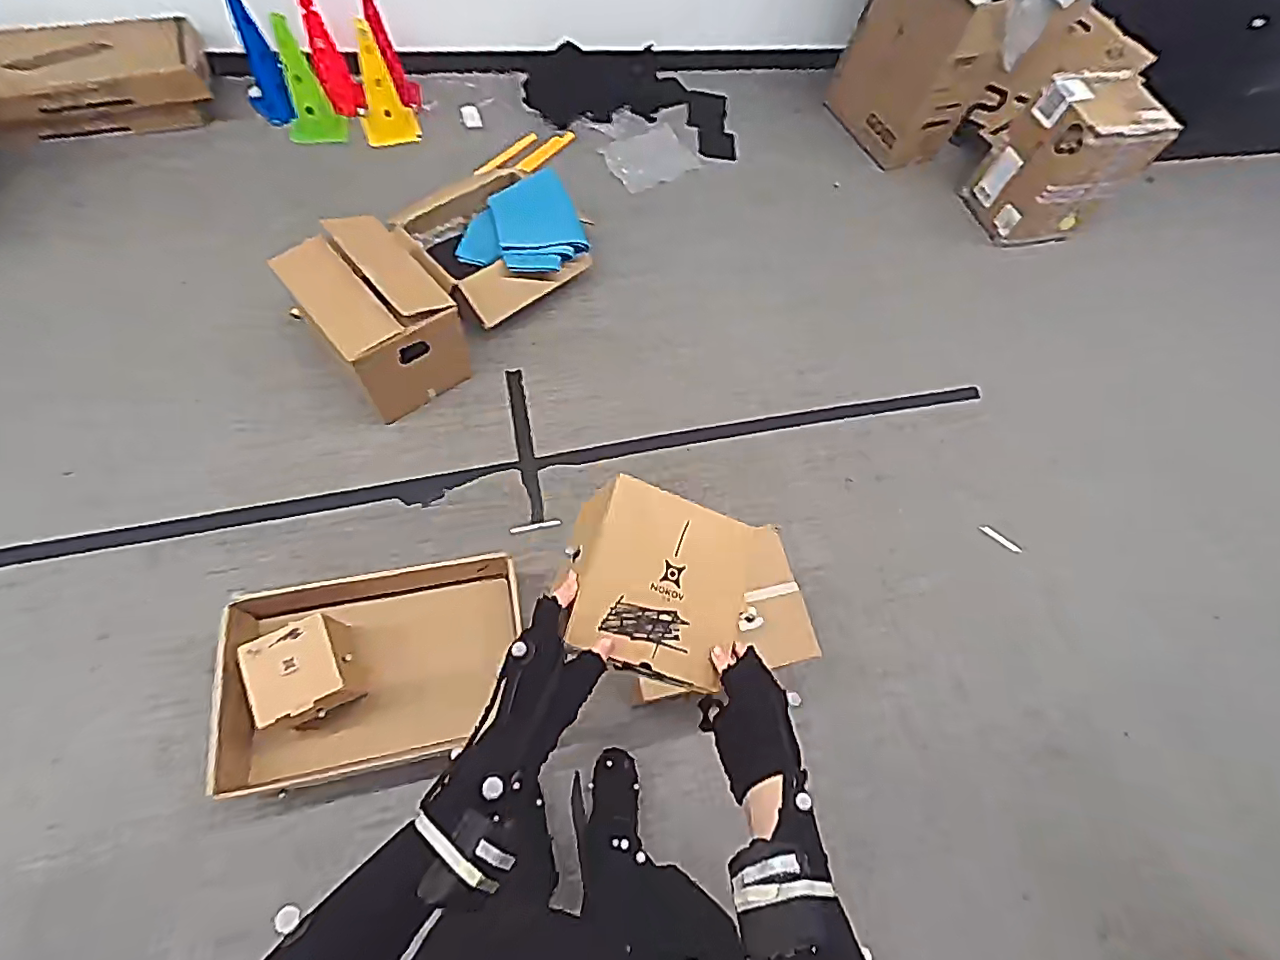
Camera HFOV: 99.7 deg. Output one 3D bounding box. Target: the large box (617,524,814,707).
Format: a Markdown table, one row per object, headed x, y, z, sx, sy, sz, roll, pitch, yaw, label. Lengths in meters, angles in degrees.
| x | y | z | sx | sy | sz | roll | pitch | yaw | label |
| --- | --- | --- | --- | --- | --- | --- | --- | --- | --- |
| 0.134 | 0.338 | 1.324 | 0.408 | 0.320 | 0.320 | -10 | 67 | -14 | large box |

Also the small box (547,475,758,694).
| x | y | z | sx | sy | sz | roll | pitch | yaw | label |
| --- | --- | --- | --- | --- | --- | --- | --- | --- | --- |
| 0.005 | 0.123 | 0.610 | 0.168 | 0.176 | 0.179 | 23 | 67 | -13 | small box |
